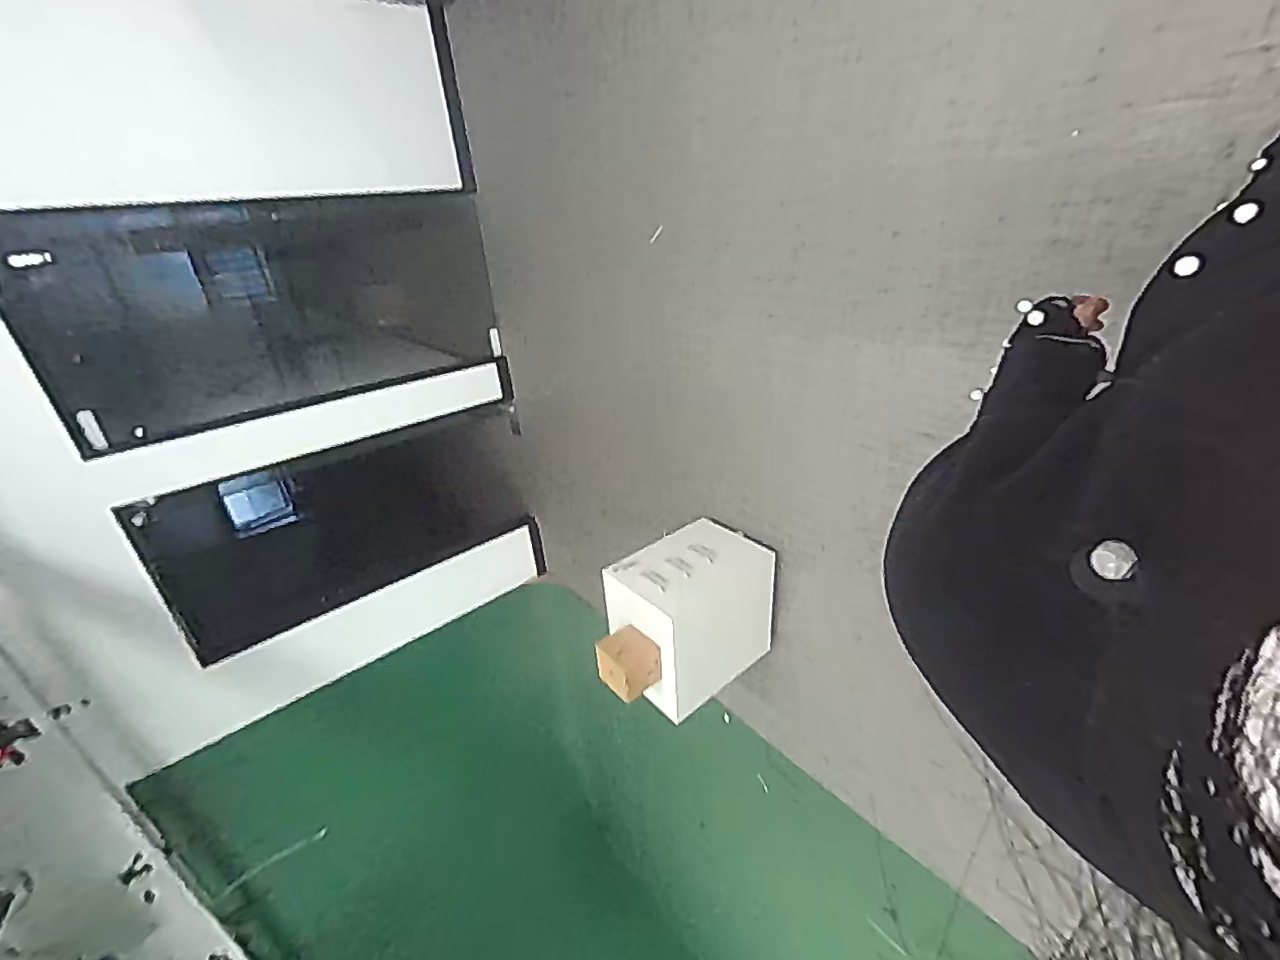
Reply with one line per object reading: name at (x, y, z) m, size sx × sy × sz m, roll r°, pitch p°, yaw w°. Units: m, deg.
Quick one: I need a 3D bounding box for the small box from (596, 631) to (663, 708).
small box at (-0.036, 0.676, 1.959) m, size 0.179 × 0.176 × 0.168 m, roll 25°, pitch 129°, yaw 46°
